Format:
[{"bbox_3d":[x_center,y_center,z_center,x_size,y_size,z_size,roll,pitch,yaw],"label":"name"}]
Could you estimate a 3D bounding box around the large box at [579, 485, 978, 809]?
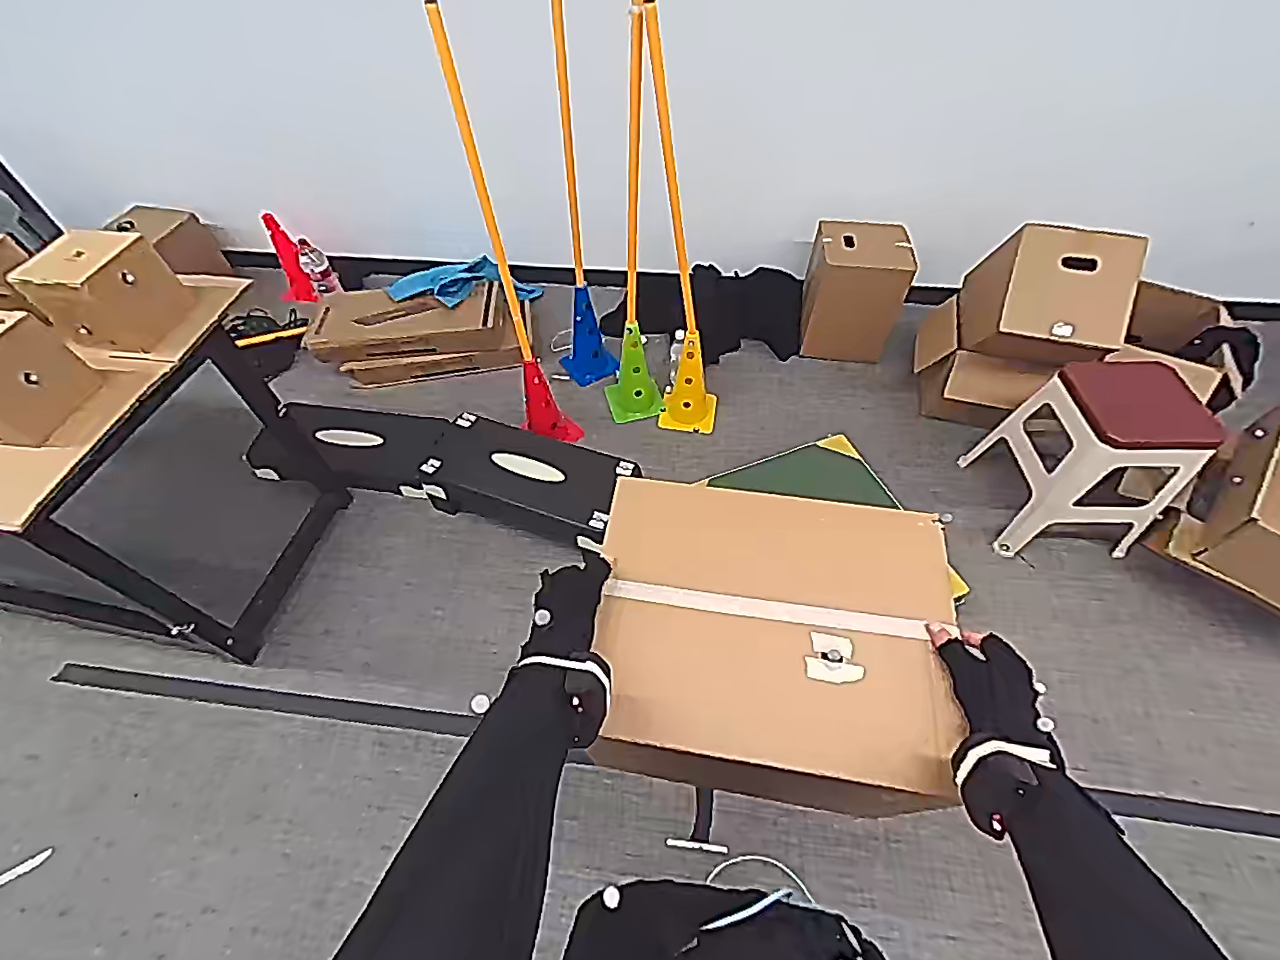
[{"bbox_3d":[0.156,0.235,0.742,0.408,0.320,0.320,7,57,7],"label":"large box"}]
